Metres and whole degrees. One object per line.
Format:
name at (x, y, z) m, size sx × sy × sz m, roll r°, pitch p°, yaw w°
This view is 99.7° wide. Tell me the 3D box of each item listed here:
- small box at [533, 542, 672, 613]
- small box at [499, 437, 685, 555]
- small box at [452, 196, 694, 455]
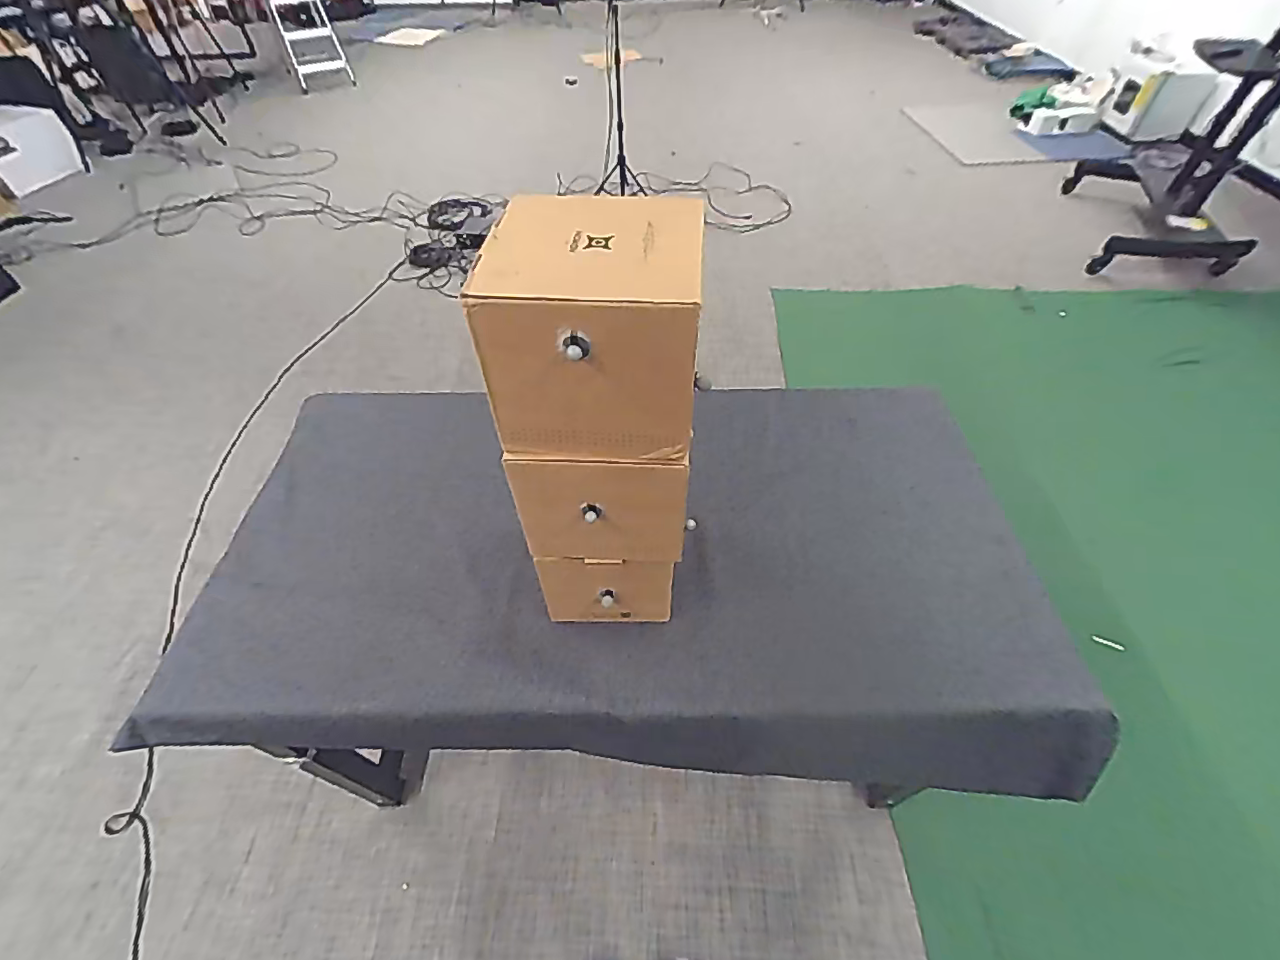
small box at (-0.041, 0.073, 0.744) m, size 0.168 × 0.176 × 0.179 m, roll -2°, pitch 50°, yaw 1°
small box at (-0.039, -0.027, 0.612) m, size 0.179 × 0.176 × 0.168 m, roll 0°, pitch 50°, yaw 4°
small box at (-0.042, -0.137, 0.494) m, size 0.179 × 0.176 × 0.168 m, roll 3°, pitch 51°, yaw 3°
